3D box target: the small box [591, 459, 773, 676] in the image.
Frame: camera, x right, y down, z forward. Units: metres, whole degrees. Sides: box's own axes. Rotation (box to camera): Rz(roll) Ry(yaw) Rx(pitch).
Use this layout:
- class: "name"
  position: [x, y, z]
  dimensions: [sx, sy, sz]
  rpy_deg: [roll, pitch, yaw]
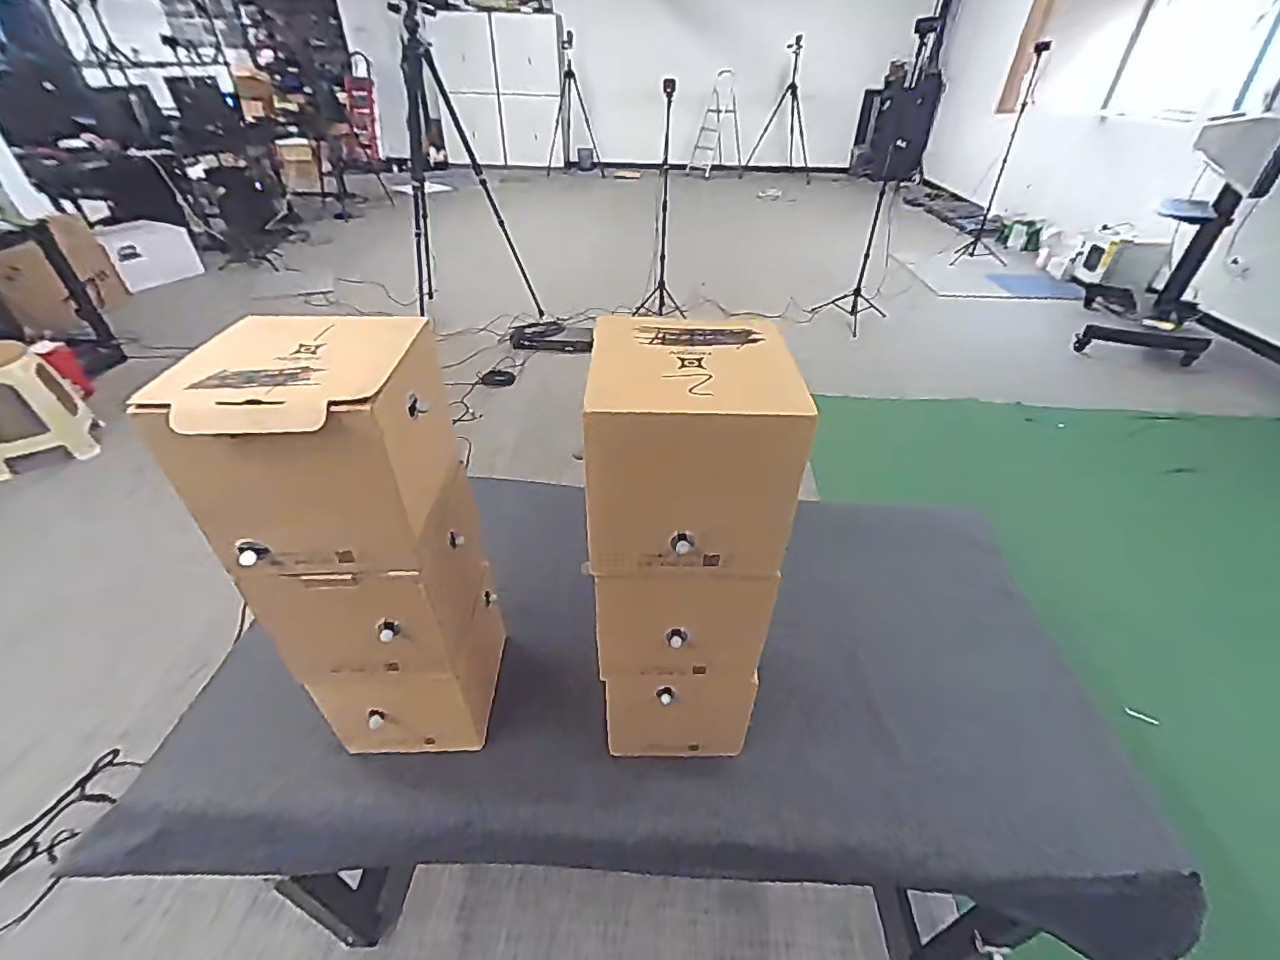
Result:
- class: "small box"
  position: [0.036, 0.095, 0.590]
  dimensions: [0.168, 0.176, 0.179]
  rpy_deg: [2, 38, -2]

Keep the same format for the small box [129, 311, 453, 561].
- class: "small box"
  position: [-0.276, -0.041, 0.487]
  dimensions: [0.168, 0.176, 0.179]
  rpy_deg: [0, 37, -5]

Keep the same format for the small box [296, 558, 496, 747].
- class: "small box"
  position: [-0.286, 0.219, 0.686]
  dimensions: [0.168, 0.176, 0.179]
  rpy_deg: [0, 37, -3]

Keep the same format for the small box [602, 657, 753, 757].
- class: "small box"
  position: [0.038, 0.226, 0.693]
  dimensions: [0.168, 0.176, 0.179]
  rpy_deg: [1, 37, -1]

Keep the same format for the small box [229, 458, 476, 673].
- class: "small box"
  position: [-0.282, 0.091, 0.585]
  dimensions: [0.168, 0.176, 0.179]
  rpy_deg: [1, 36, -4]
